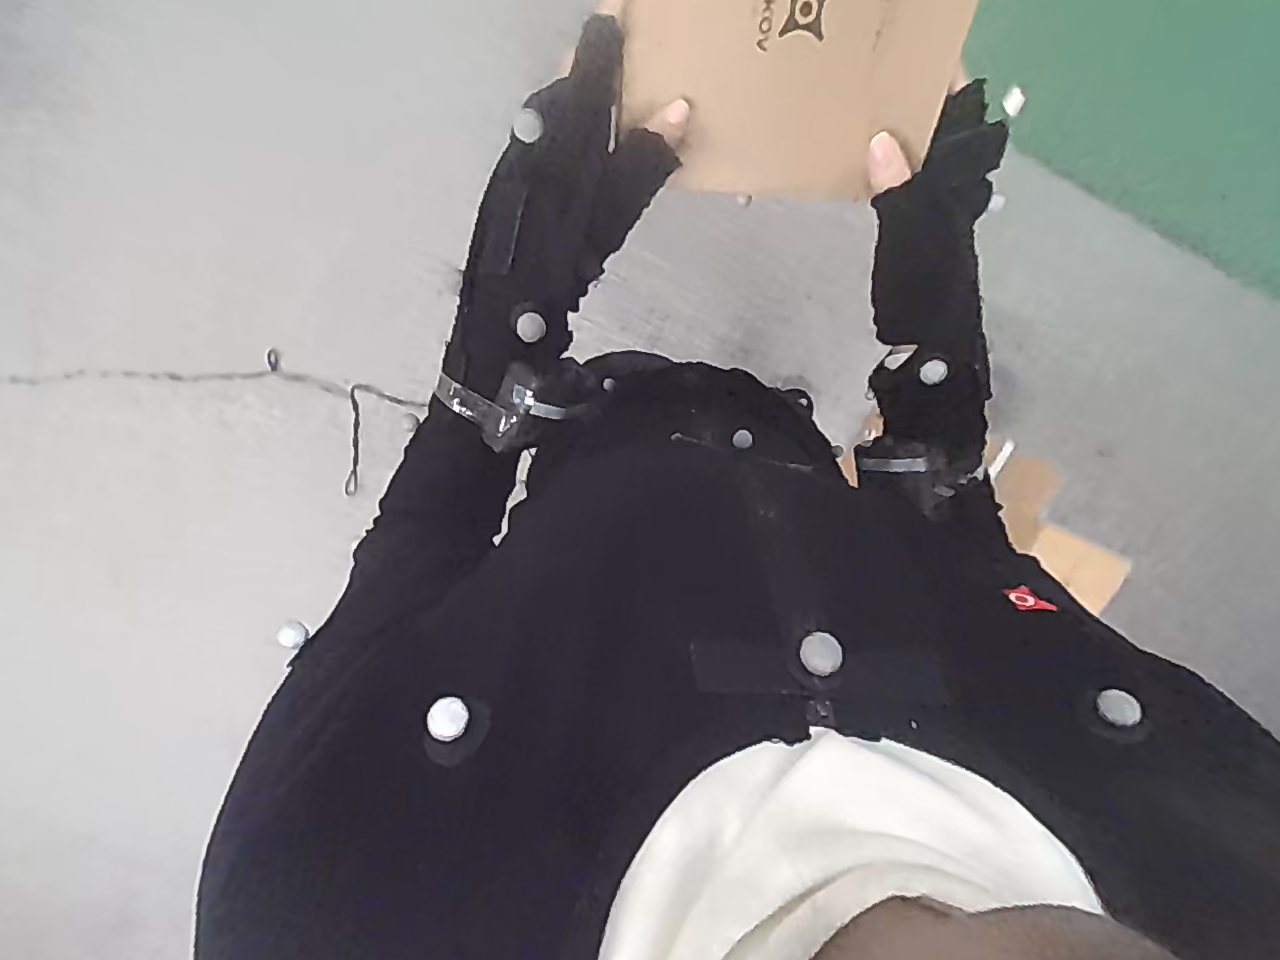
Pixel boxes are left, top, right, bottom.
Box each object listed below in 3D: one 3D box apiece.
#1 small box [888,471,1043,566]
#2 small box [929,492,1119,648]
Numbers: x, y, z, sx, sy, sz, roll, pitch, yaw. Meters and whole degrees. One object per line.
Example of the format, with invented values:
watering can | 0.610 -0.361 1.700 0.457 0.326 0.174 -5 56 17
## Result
small box | 0.635 0.094 1.080 0.179 0.176 0.168 22 104 -6
small box | 0.633 0.145 0.923 0.168 0.176 0.179 25 103 -8
